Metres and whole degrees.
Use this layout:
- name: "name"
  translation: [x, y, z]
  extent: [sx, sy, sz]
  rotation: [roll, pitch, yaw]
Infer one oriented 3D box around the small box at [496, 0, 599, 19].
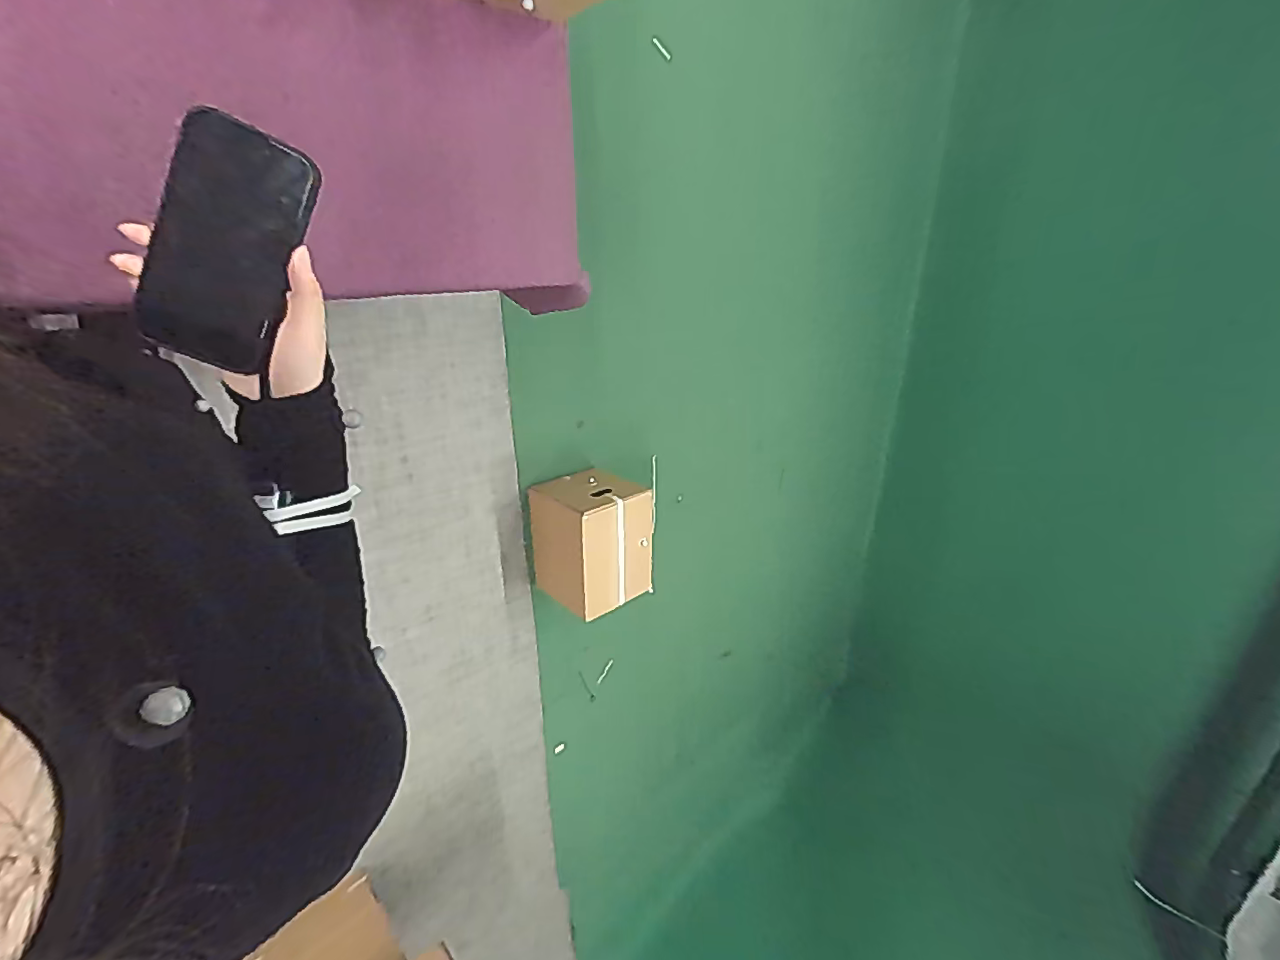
- name: "small box"
  translation: [-0.117, -0.693, 0.636]
  extent: [0.168, 0.176, 0.179]
  rotation: [-19, 120, -38]
